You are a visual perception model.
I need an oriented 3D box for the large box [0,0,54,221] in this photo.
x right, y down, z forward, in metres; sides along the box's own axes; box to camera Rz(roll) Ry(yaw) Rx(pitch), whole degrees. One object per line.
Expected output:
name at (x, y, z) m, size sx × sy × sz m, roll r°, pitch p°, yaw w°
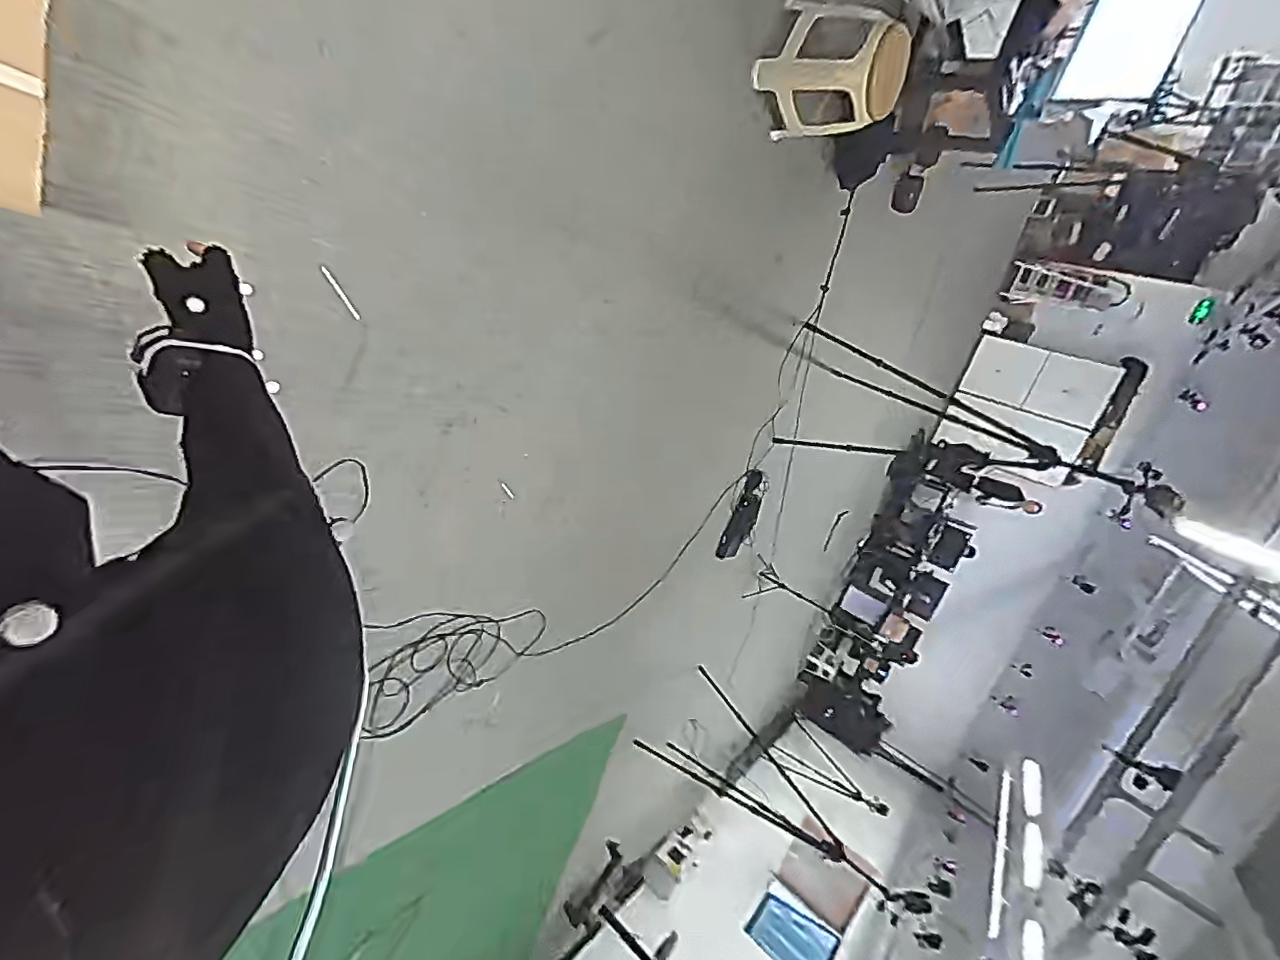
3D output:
large box at (-0.983, -0.534, 0.608) m, size 0.408 × 0.320 × 0.320 m, roll -2°, pitch 114°, yaw -54°
